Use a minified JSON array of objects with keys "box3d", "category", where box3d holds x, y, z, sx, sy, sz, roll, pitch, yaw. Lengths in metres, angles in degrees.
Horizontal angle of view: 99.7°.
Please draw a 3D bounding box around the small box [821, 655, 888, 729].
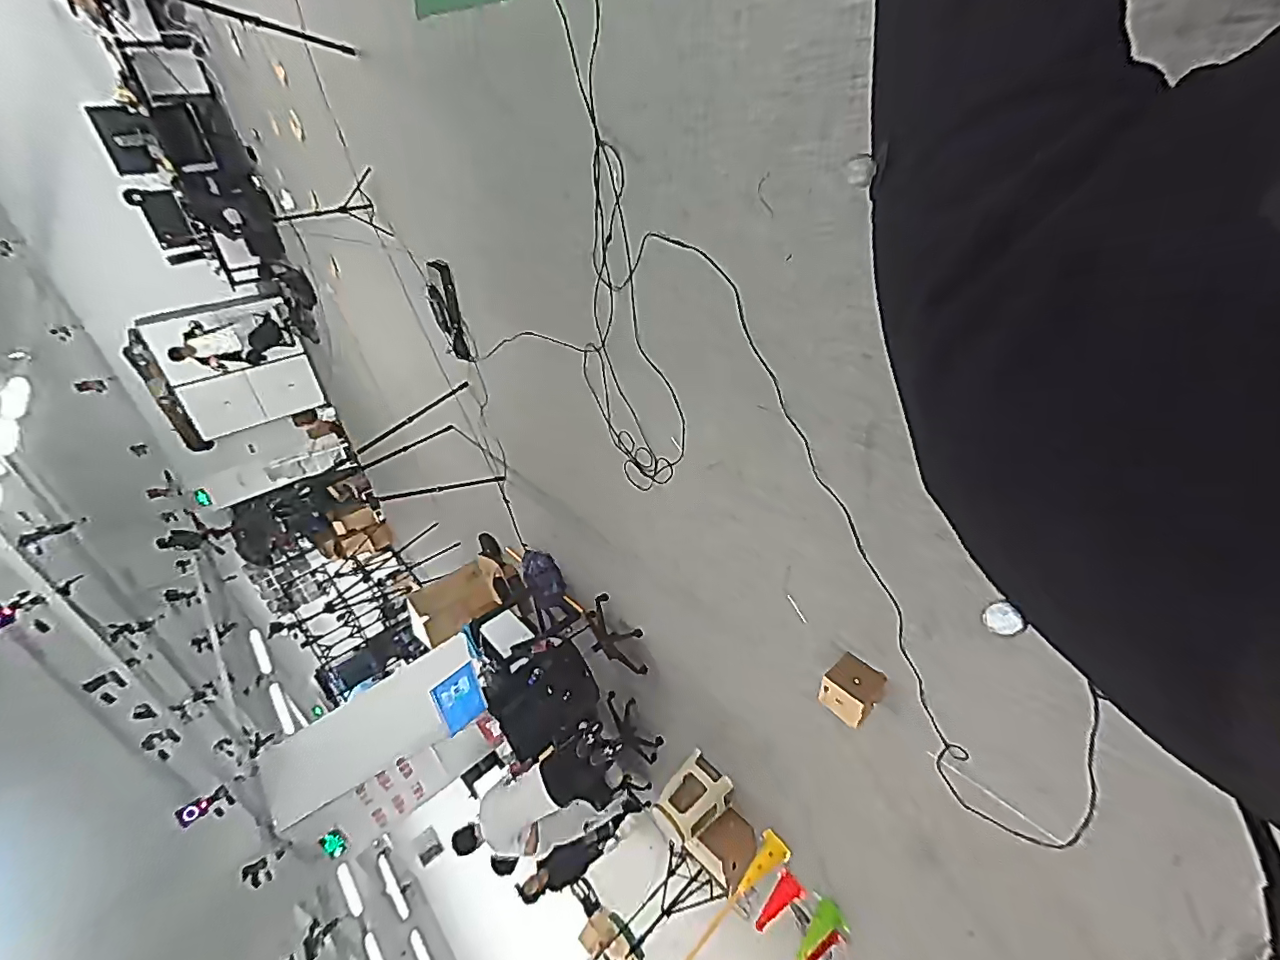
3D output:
[{"box3d":[0.847,0.830,2.134,0.179,0.176,0.168,31,137,39],"category":"small box"}]
